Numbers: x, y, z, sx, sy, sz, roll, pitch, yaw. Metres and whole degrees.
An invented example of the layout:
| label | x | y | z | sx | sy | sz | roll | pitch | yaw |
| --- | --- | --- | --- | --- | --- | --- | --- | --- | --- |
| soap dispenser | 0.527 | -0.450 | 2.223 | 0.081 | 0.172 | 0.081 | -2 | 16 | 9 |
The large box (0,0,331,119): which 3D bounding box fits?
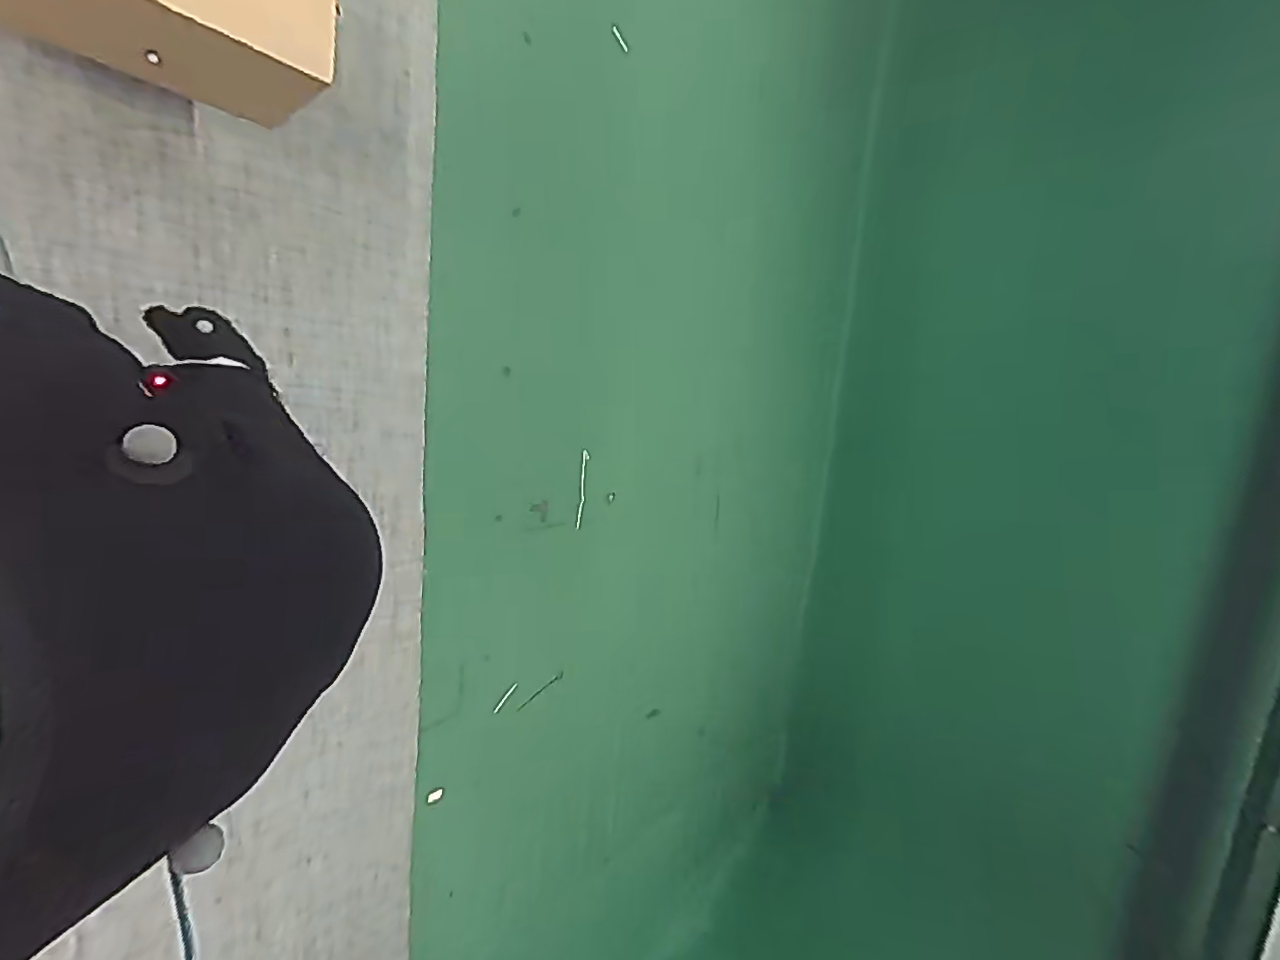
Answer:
| label | x | y | z | sx | sy | sz | roll | pitch | yaw |
| --- | --- | --- | --- | --- | --- | --- | --- | --- | --- |
| large box | -0.738 | -0.827 | 0.819 | 0.408 | 0.320 | 0.320 | -3 | 102 | -49 |
